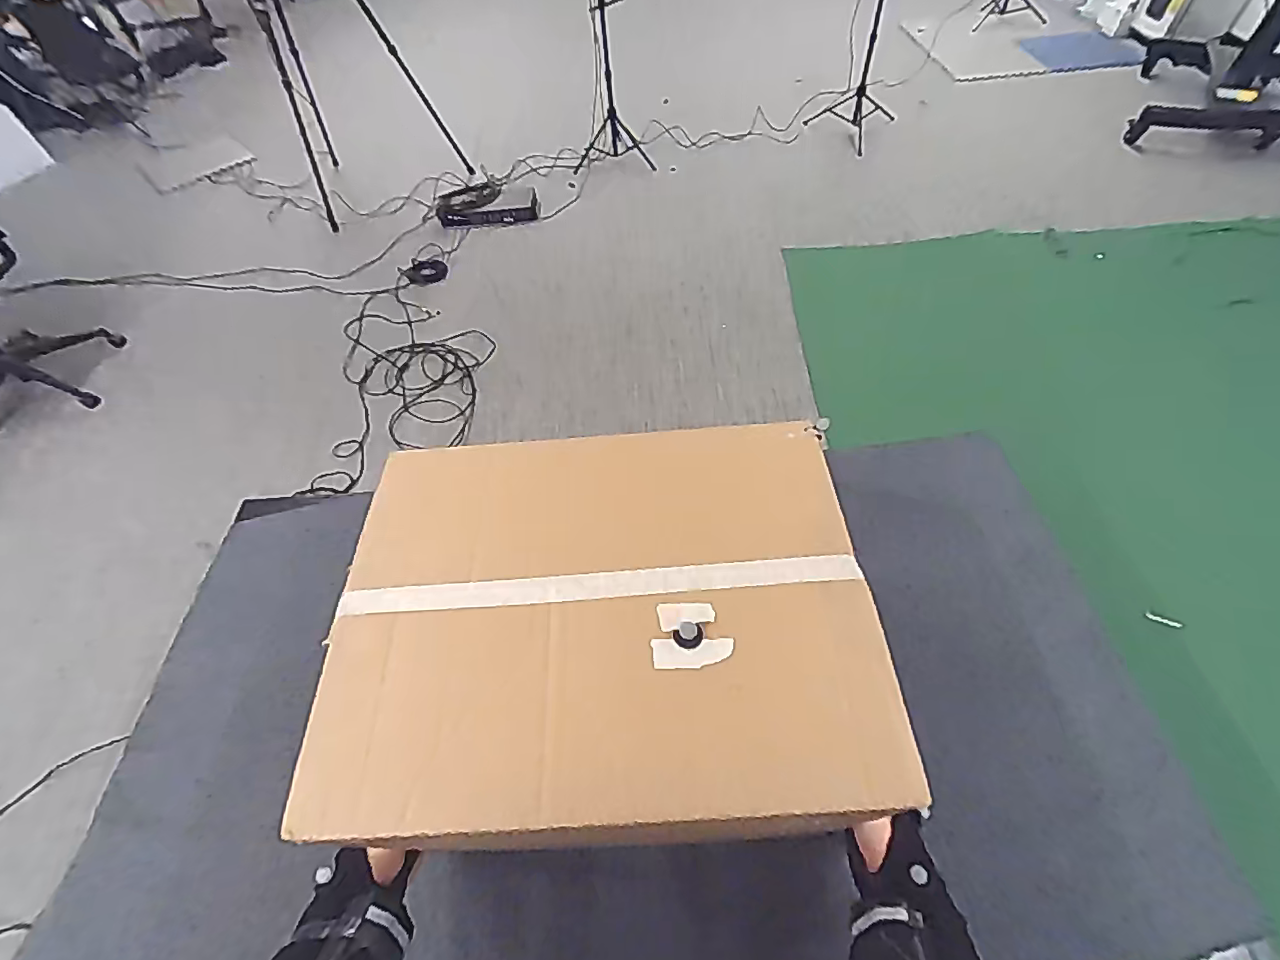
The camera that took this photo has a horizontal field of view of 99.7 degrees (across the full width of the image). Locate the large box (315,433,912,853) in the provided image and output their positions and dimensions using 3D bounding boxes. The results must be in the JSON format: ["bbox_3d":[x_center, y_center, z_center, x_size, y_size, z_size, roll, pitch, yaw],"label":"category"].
[{"bbox_3d":[-0.020,0.181,0.559,0.408,0.320,0.320,-4,55,1],"label":"large box"}]
